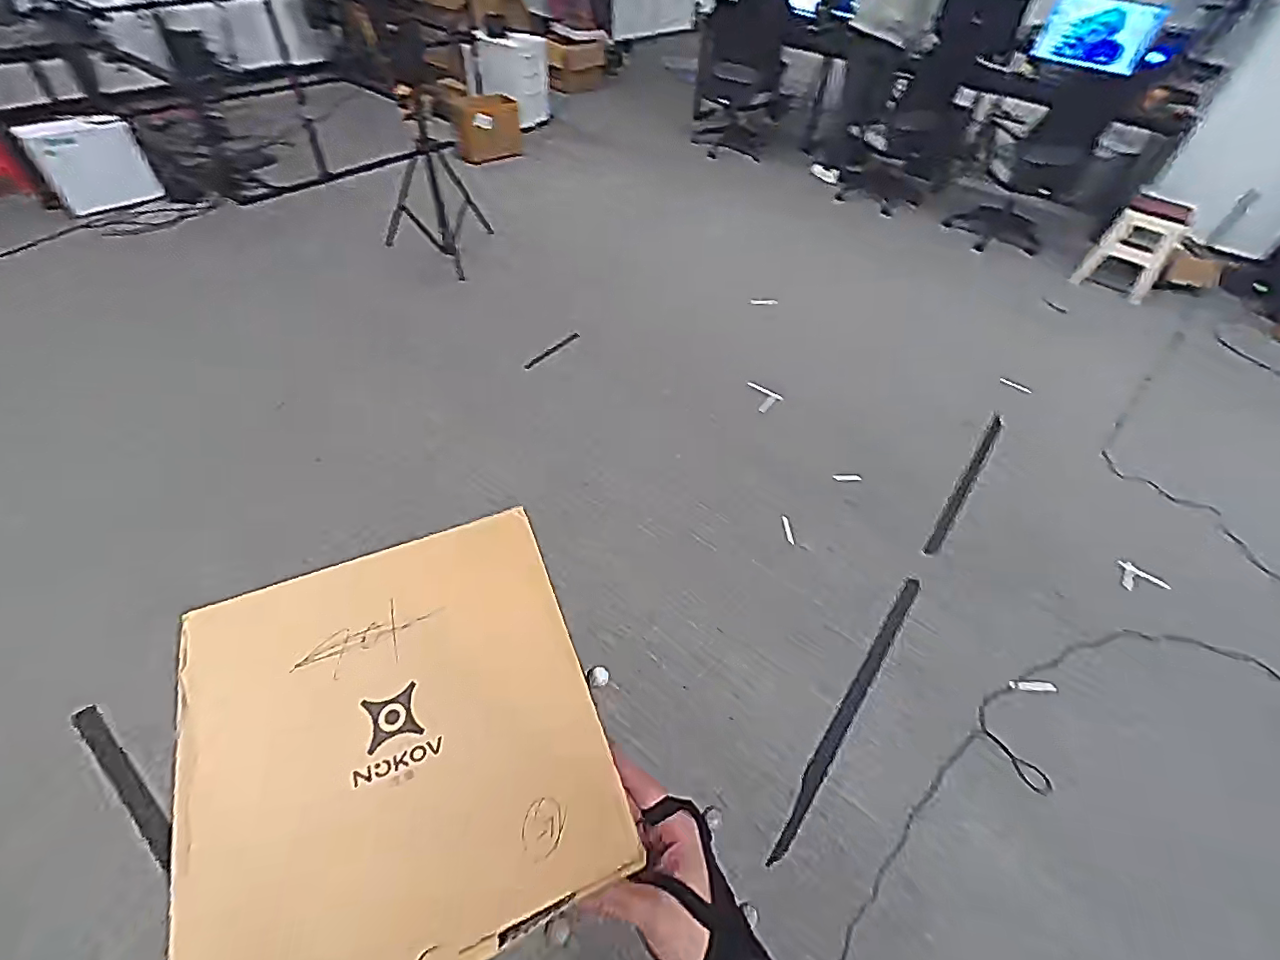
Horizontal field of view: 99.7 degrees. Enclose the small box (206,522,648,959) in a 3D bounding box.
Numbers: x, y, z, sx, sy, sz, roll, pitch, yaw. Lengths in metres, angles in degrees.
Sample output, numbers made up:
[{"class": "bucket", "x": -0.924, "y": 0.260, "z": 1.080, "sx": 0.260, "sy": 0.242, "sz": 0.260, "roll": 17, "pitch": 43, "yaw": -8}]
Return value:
[{"class": "small box", "x": -0.105, "y": 0.158, "z": 0.309, "sx": 0.168, "sy": 0.176, "sz": 0.179, "roll": -18, "pitch": 58, "yaw": -15}]
